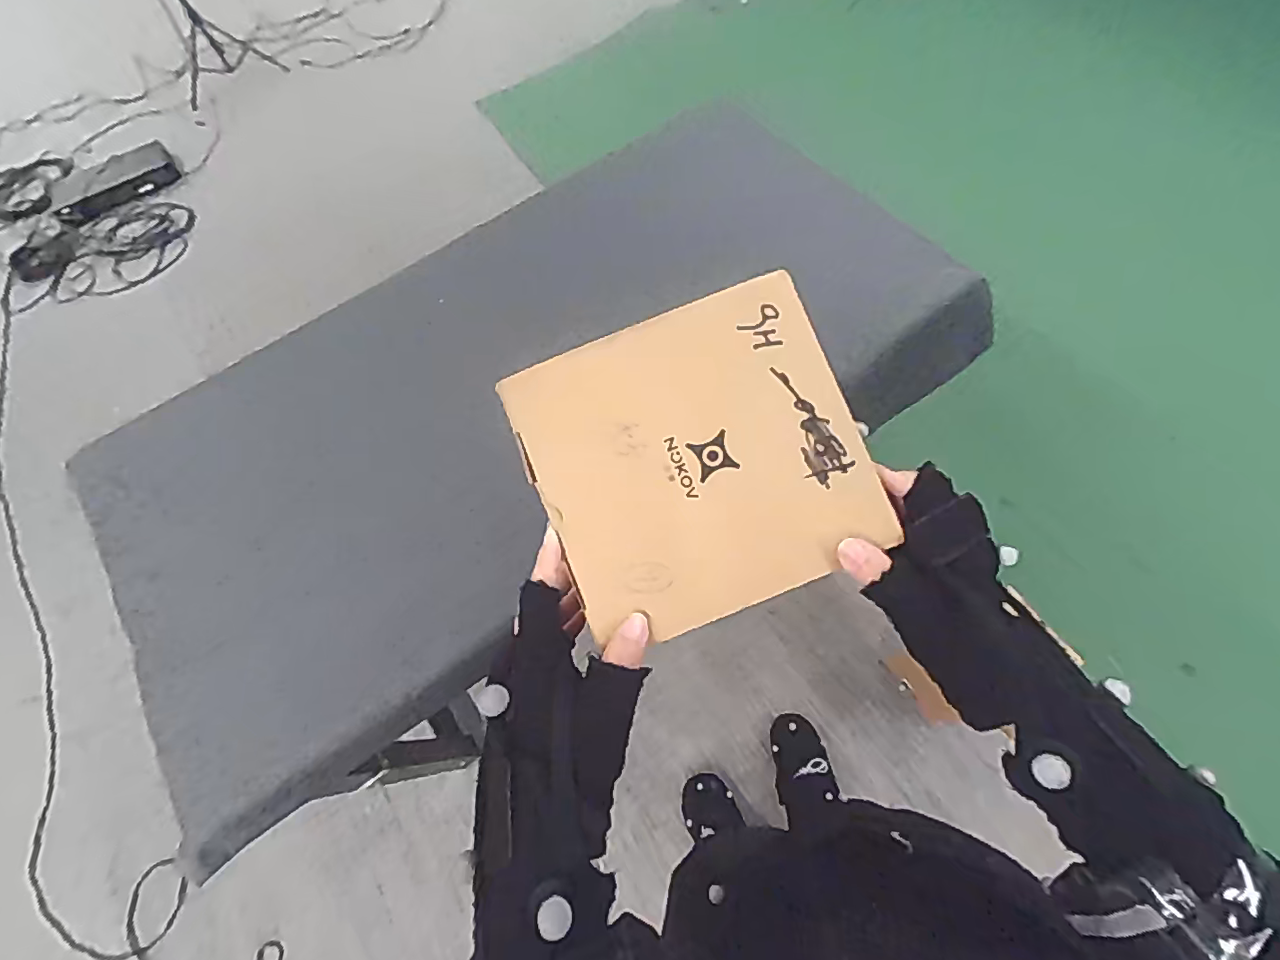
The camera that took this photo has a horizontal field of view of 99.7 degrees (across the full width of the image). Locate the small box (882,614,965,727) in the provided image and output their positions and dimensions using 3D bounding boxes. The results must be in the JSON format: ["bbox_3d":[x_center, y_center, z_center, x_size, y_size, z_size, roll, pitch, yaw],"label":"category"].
[{"bbox_3d":[0.663,0.413,1.174,0.179,0.176,0.168,-32,65,-8],"label":"small box"}]

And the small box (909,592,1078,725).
[{"bbox_3d":[0.653,0.342,1.026,0.179,0.176,0.168,-31,65,-8],"label":"small box"}]

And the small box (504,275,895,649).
[{"bbox_3d":[0.033,-0.004,0.375,0.179,0.176,0.168,-20,85,0],"label":"small box"}]
